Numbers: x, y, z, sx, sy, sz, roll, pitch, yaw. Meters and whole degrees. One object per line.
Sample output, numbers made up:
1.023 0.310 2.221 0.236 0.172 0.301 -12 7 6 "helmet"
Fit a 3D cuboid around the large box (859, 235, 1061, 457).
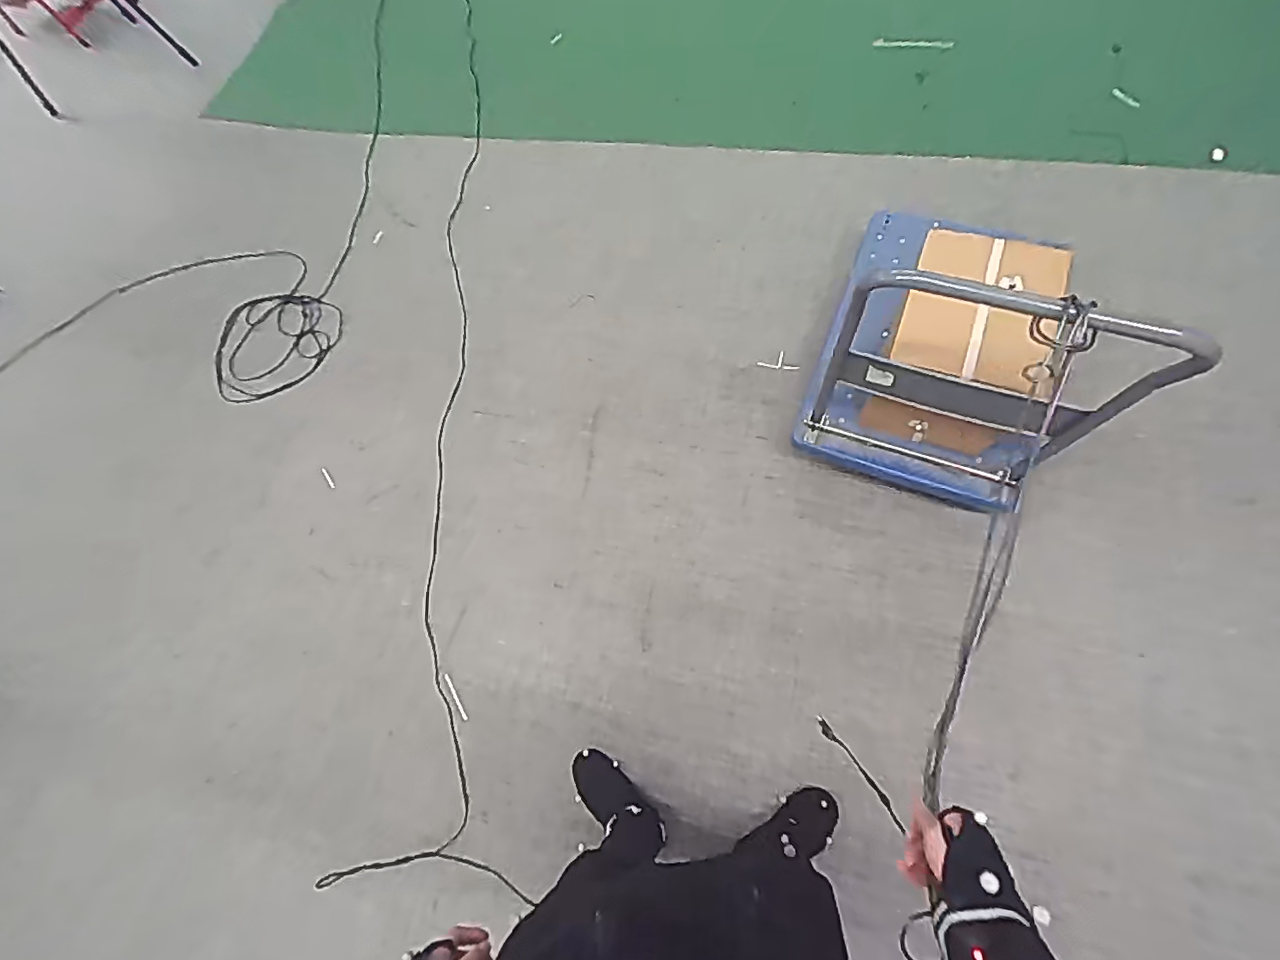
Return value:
0.777 -0.326 1.353 0.320 0.320 0.408 19 71 15 "large box"
